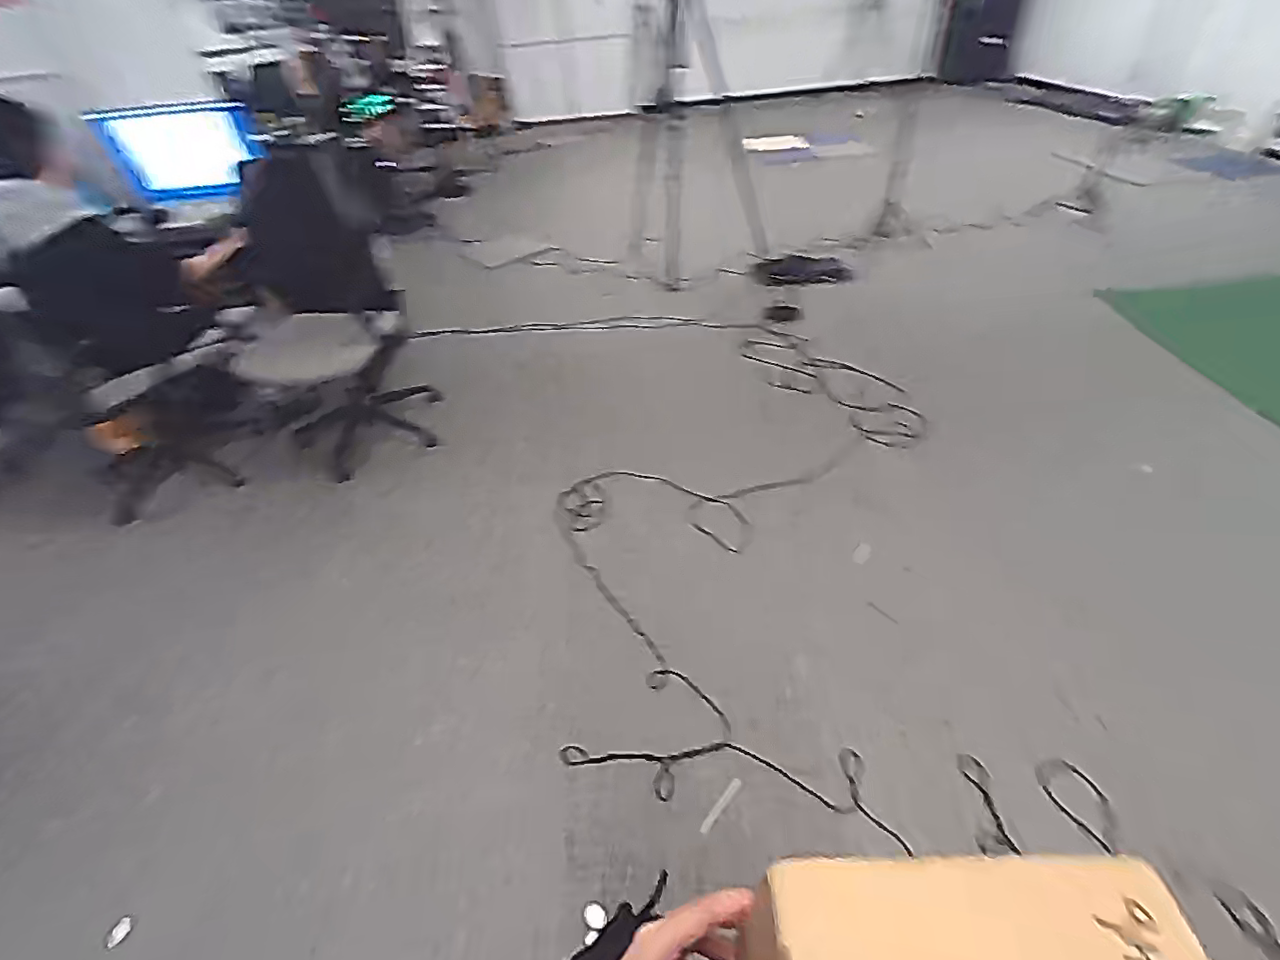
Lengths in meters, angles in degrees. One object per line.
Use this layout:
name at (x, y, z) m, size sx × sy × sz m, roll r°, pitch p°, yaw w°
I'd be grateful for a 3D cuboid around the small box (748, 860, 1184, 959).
small box at (0.148, 0.297, 0.248) m, size 0.179 × 0.176 × 0.168 m, roll -1°, pitch 40°, yaw 1°
